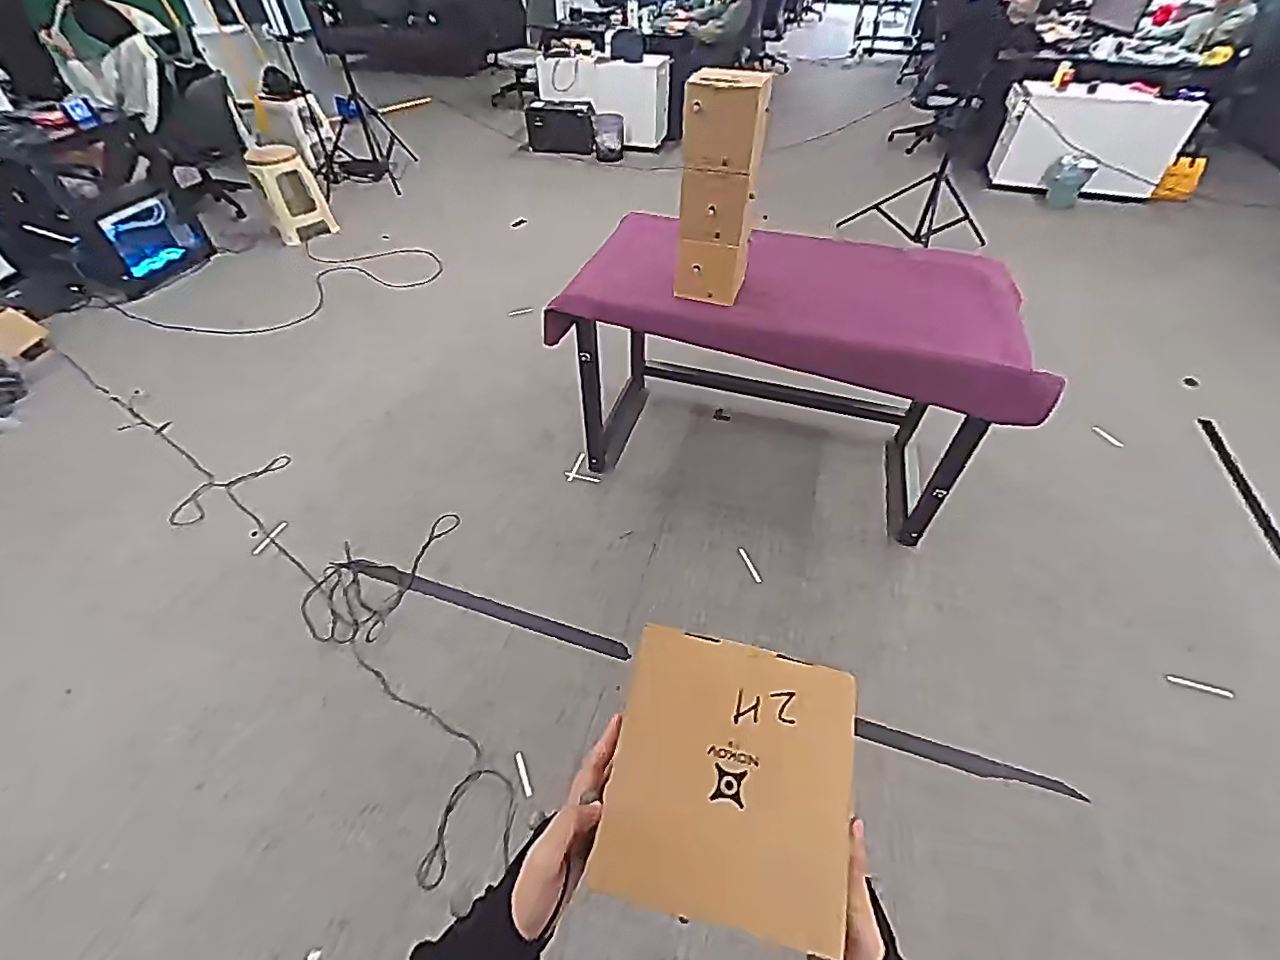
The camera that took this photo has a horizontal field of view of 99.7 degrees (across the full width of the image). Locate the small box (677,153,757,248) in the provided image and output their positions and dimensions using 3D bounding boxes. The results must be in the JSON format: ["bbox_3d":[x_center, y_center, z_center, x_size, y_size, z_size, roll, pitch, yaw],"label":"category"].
[{"bbox_3d":[0.194,-0.715,1.387,0.168,0.176,0.179,13,48,11],"label":"small box"}]

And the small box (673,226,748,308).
[{"bbox_3d":[0.193,-0.598,1.502,0.168,0.176,0.179,14,48,12],"label":"small box"}]

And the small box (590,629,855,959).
[{"bbox_3d":[0.064,0.246,0.451,0.168,0.176,0.179,12,62,4],"label":"small box"}]
